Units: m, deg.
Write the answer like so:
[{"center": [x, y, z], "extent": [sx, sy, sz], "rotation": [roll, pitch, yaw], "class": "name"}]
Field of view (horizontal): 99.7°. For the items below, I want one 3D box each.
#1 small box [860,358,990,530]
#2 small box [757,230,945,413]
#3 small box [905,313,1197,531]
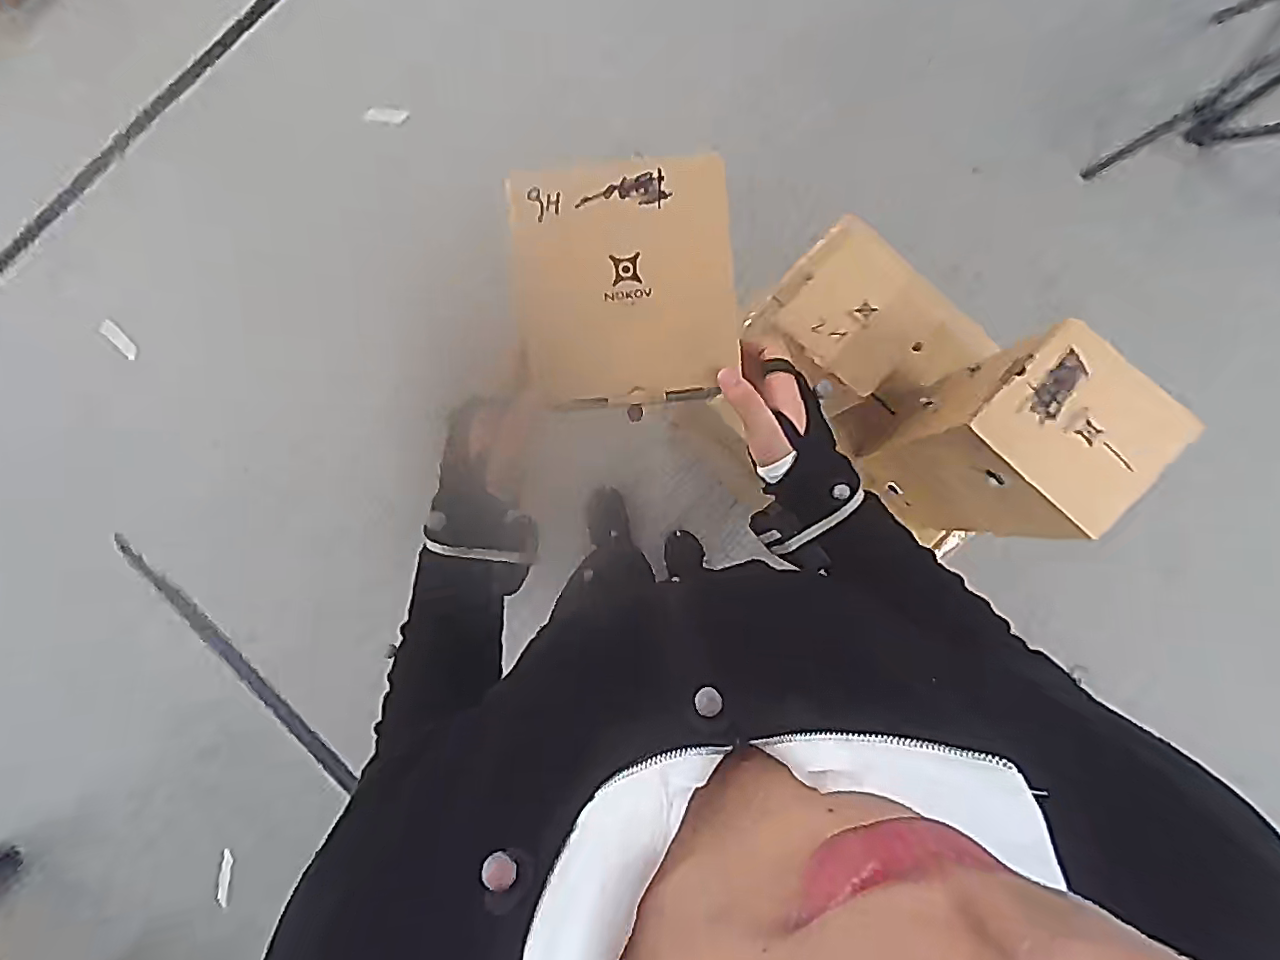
[{"center": [0.464, -0.045, 0.802], "extent": [0.168, 0.176, 0.179], "rotation": [45, 90, 6], "class": "small box"}, {"center": [0.300, -0.225, 0.815], "extent": [0.168, 0.176, 0.179], "rotation": [43, 89, 3], "class": "small box"}, {"center": [0.457, -0.054, 0.638], "extent": [0.179, 0.176, 0.168], "rotation": [45, 89, 5], "class": "small box"}]
